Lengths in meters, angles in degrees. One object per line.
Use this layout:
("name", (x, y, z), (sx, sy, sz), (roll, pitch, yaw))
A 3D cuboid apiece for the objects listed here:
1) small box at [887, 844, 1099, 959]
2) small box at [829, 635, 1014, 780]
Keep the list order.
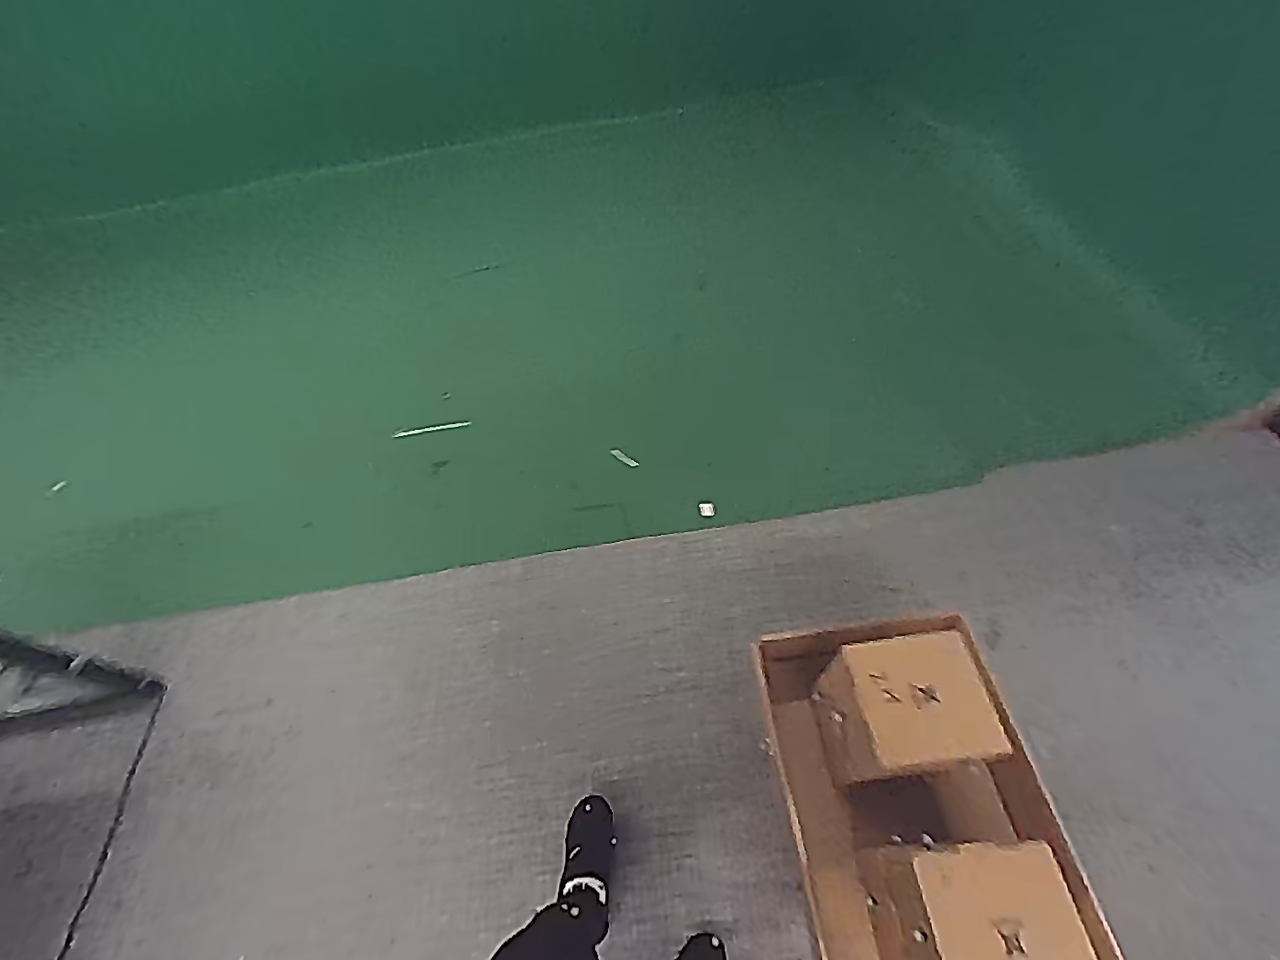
("small box", (0.431, 0.566, 0.675), (0.168, 0.176, 0.179), (-7, 57, 4))
("small box", (0.408, 0.349, 0.820), (0.179, 0.176, 0.168), (-8, 55, 2))
